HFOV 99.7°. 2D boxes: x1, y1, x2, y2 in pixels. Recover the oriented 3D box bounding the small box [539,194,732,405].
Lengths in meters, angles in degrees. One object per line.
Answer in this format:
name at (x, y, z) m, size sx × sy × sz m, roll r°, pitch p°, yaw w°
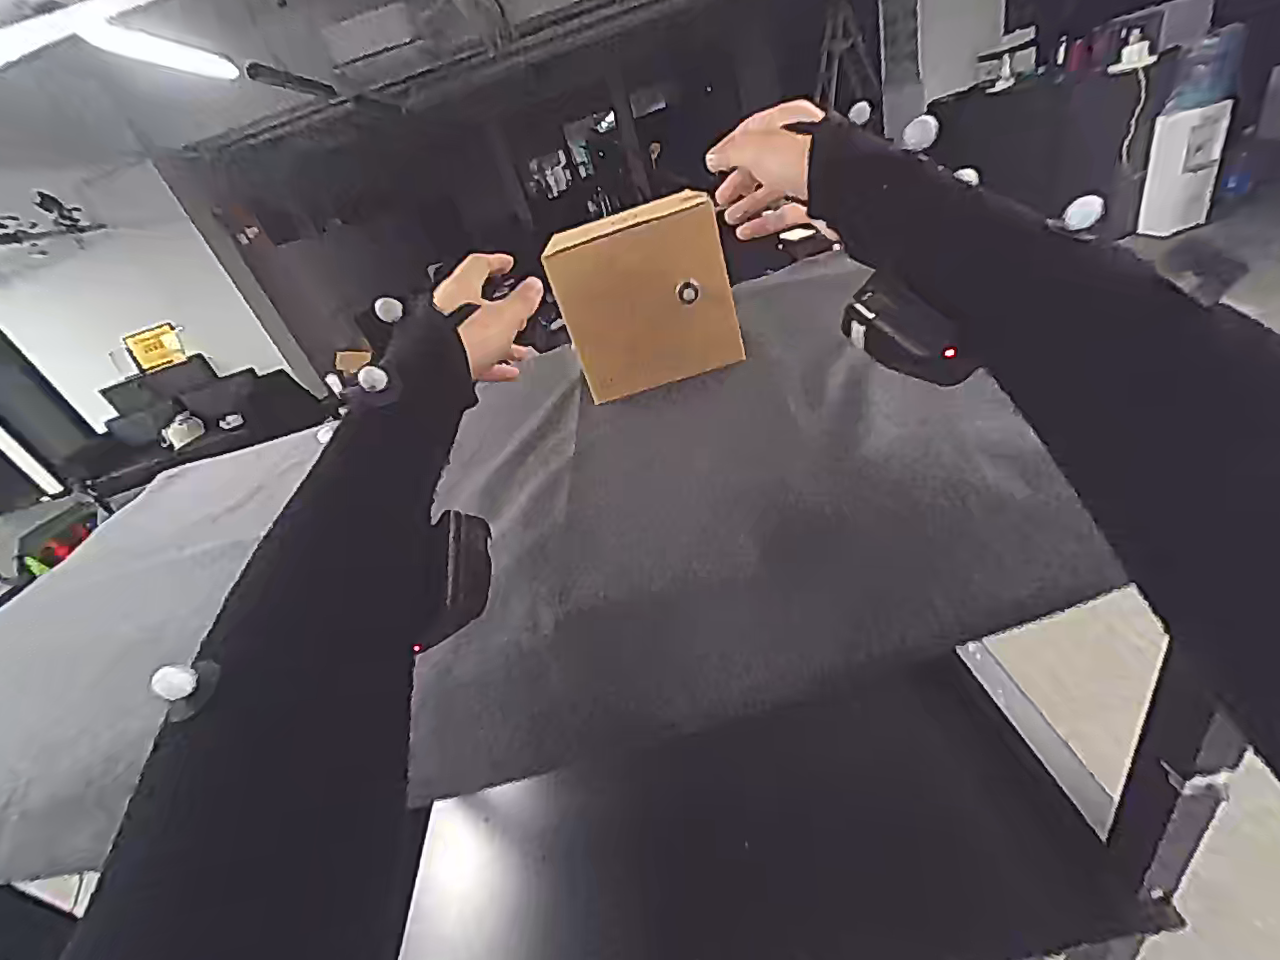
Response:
small box at (0.002, -0.209, 0.626) m, size 0.179 × 0.176 × 0.168 m, roll -16°, pitch 30°, yaw 6°
